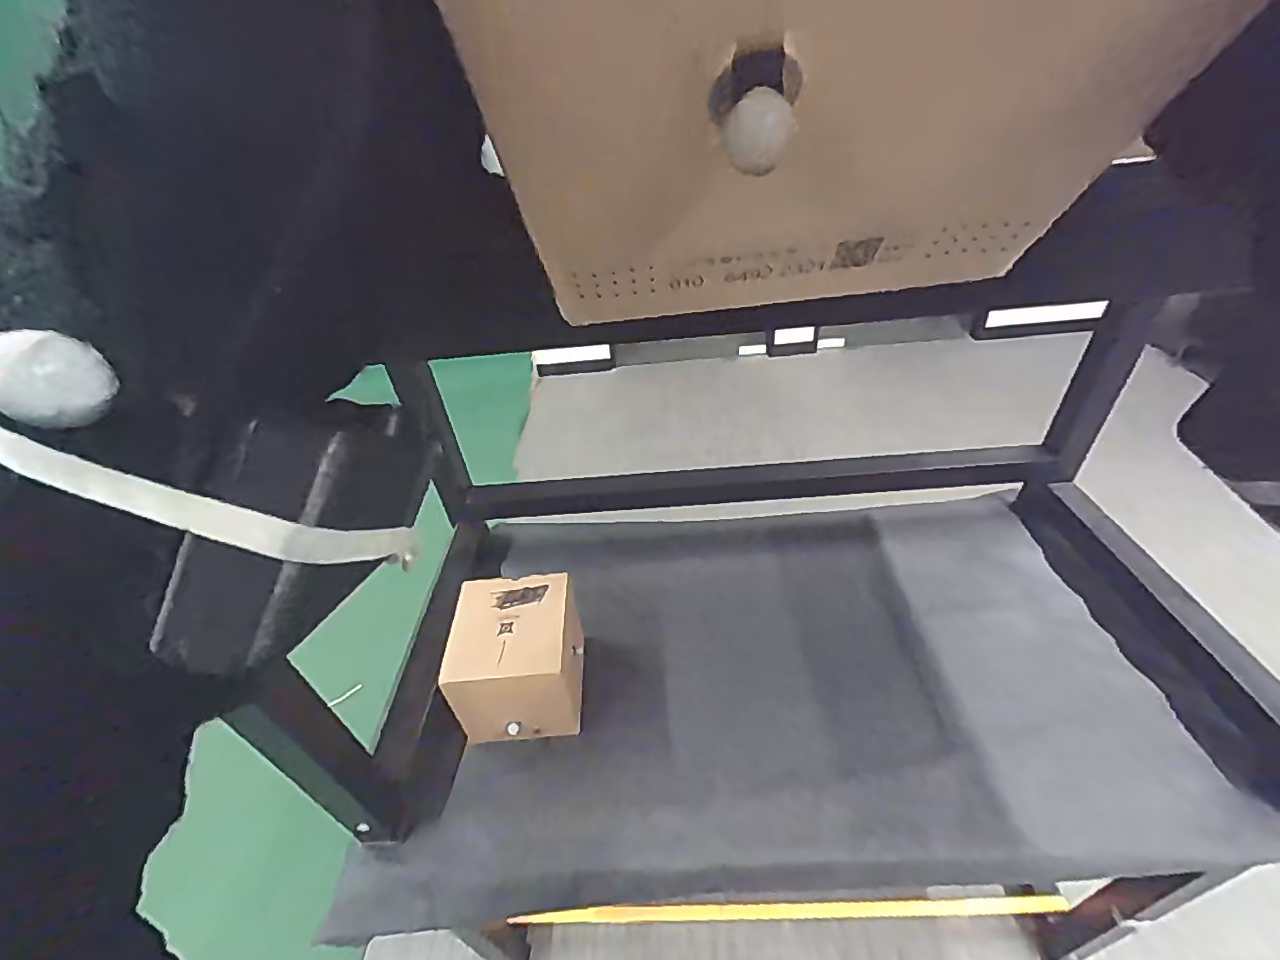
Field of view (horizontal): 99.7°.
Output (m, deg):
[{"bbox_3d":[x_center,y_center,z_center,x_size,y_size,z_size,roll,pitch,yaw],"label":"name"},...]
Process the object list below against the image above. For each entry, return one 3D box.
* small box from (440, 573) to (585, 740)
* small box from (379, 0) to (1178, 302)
[{"bbox_3d":[-0.179,0.266,0.821,0.168,0.176,0.179,-6,39,2],"label":"small box"},{"bbox_3d":[0.030,-0.165,0.145,0.168,0.176,0.179,-6,77,4],"label":"small box"}]
